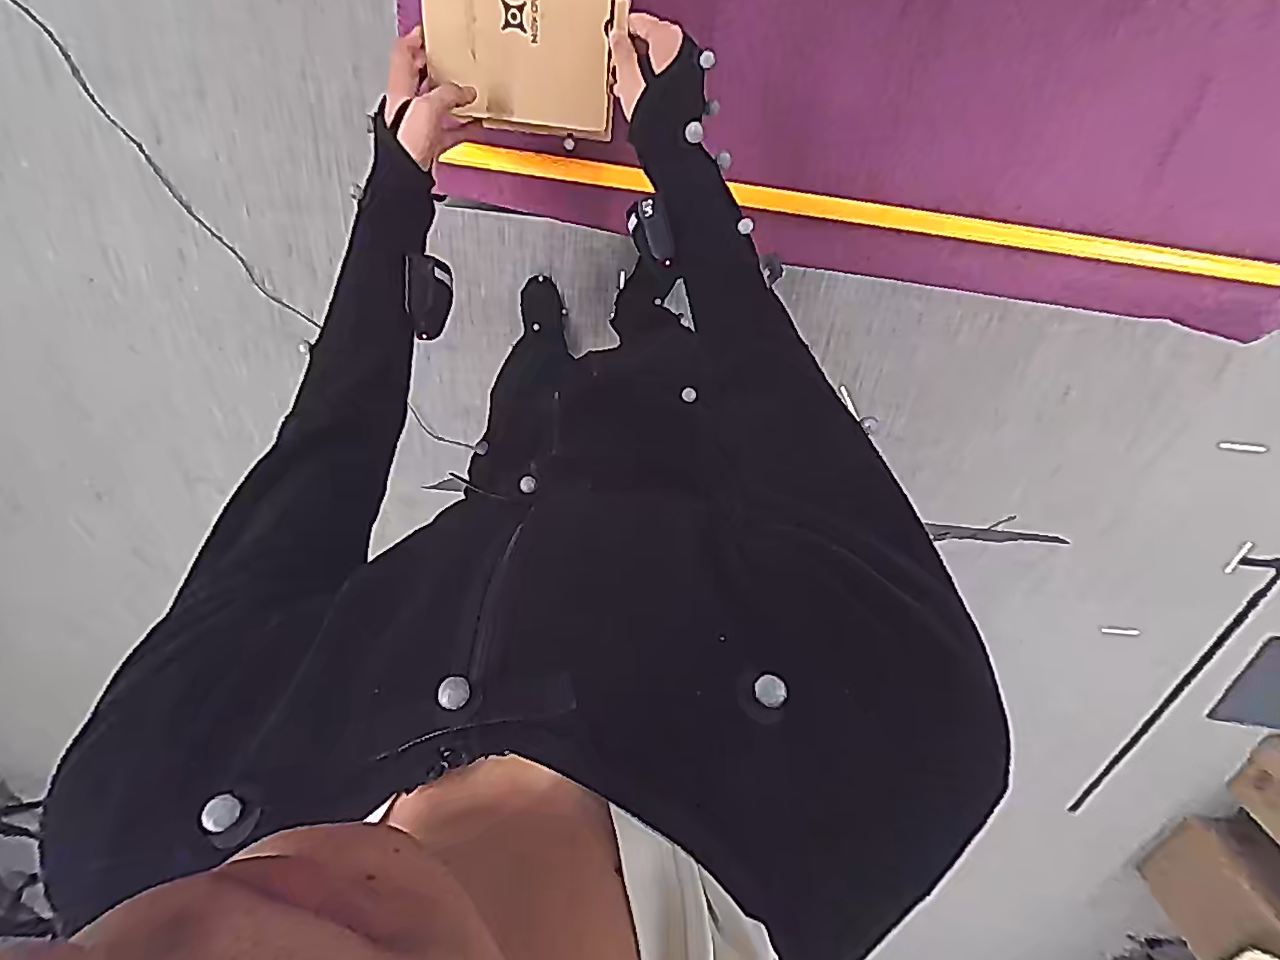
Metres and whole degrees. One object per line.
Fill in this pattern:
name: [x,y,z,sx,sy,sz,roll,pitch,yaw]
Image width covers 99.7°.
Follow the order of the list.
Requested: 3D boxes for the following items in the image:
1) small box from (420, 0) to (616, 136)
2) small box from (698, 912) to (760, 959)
small box: [-0.116,-0.465,0.562,0.179,0.176,0.168,4,119,-5]
small box: [0.325,1.745,2.011,0.168,0.176,0.179,19,120,-11]
